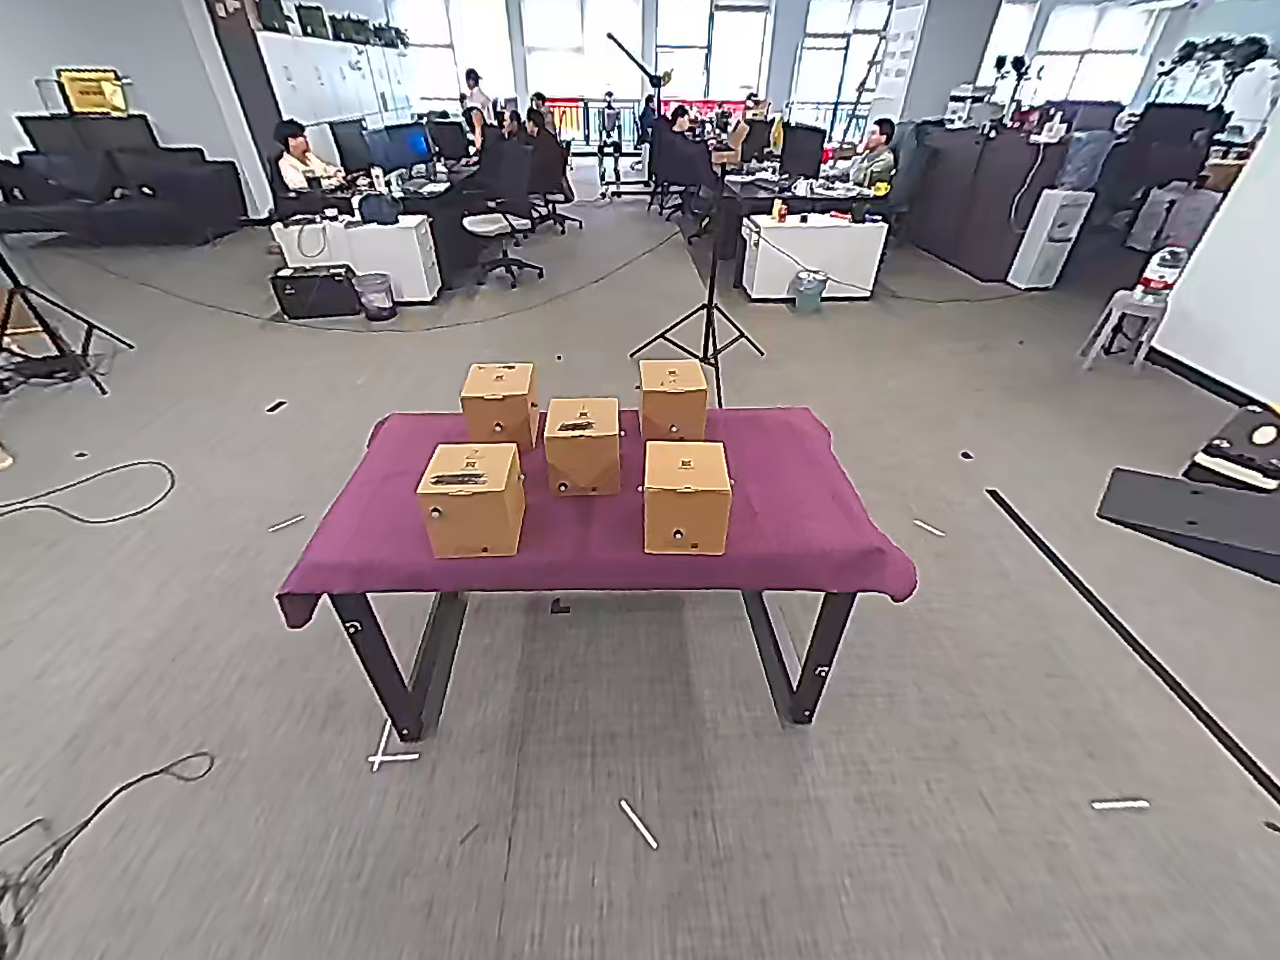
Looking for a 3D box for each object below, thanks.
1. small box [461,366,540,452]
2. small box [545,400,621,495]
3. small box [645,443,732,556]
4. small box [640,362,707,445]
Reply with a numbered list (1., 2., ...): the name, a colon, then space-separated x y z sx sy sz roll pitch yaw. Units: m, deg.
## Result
1. small box: -0.362 -0.186 1.438 0.168 0.176 0.179 -2 39 -4
2. small box: -0.130 -0.076 1.296 0.168 0.176 0.179 -1 36 -2
3. small box: 0.095 0.038 1.143 0.168 0.176 0.179 1 36 1
4. small box: 0.085 -0.208 1.470 0.168 0.176 0.179 -2 38 -2
